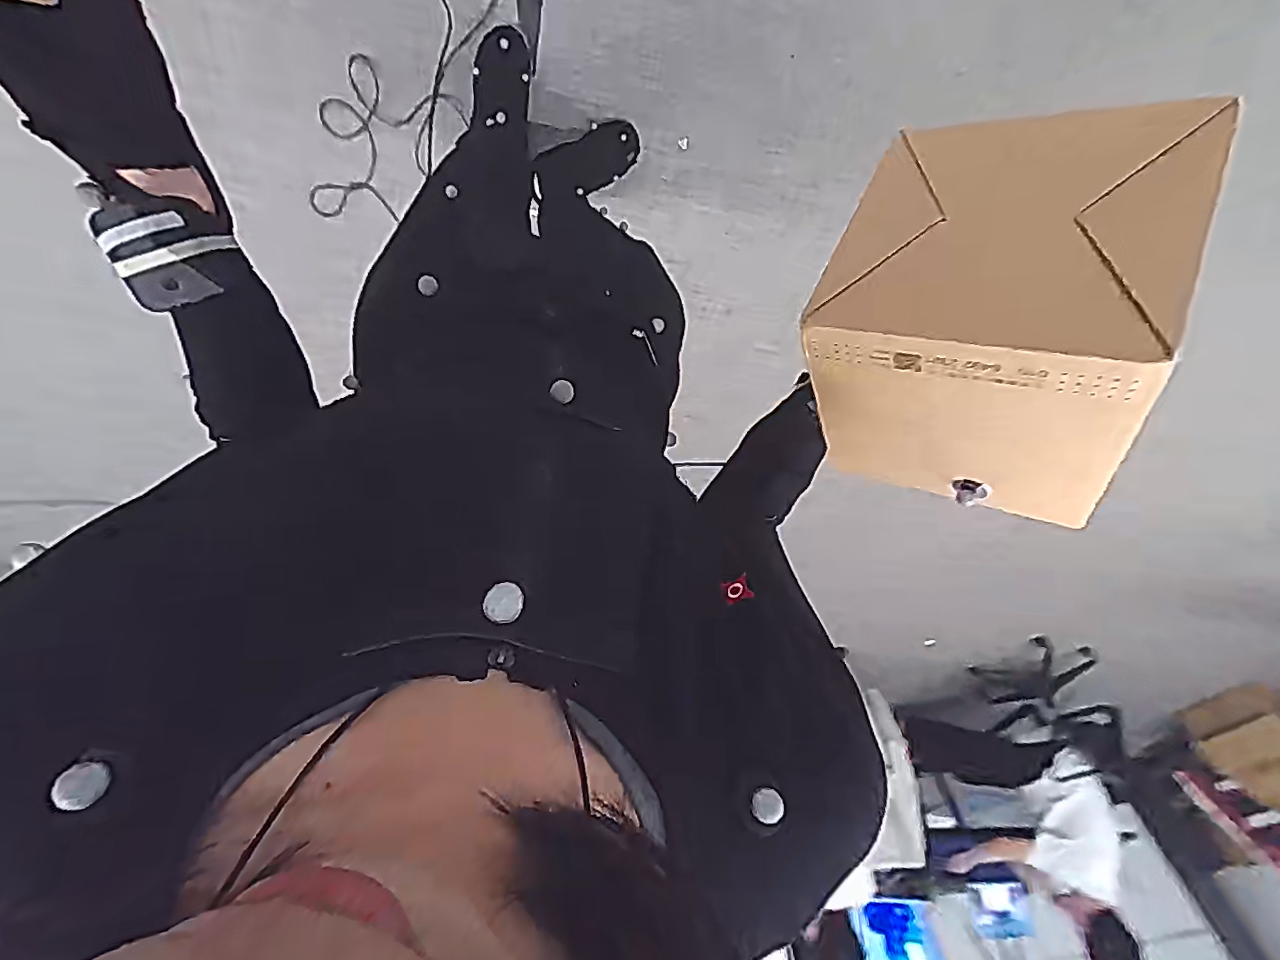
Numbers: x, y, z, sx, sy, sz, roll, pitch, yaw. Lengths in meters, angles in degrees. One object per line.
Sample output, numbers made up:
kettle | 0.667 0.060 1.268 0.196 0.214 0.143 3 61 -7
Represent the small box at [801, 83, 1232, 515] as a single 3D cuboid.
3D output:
small box | 0.223 -0.106 0.344 0.168 0.179 0.176 17 161 36
